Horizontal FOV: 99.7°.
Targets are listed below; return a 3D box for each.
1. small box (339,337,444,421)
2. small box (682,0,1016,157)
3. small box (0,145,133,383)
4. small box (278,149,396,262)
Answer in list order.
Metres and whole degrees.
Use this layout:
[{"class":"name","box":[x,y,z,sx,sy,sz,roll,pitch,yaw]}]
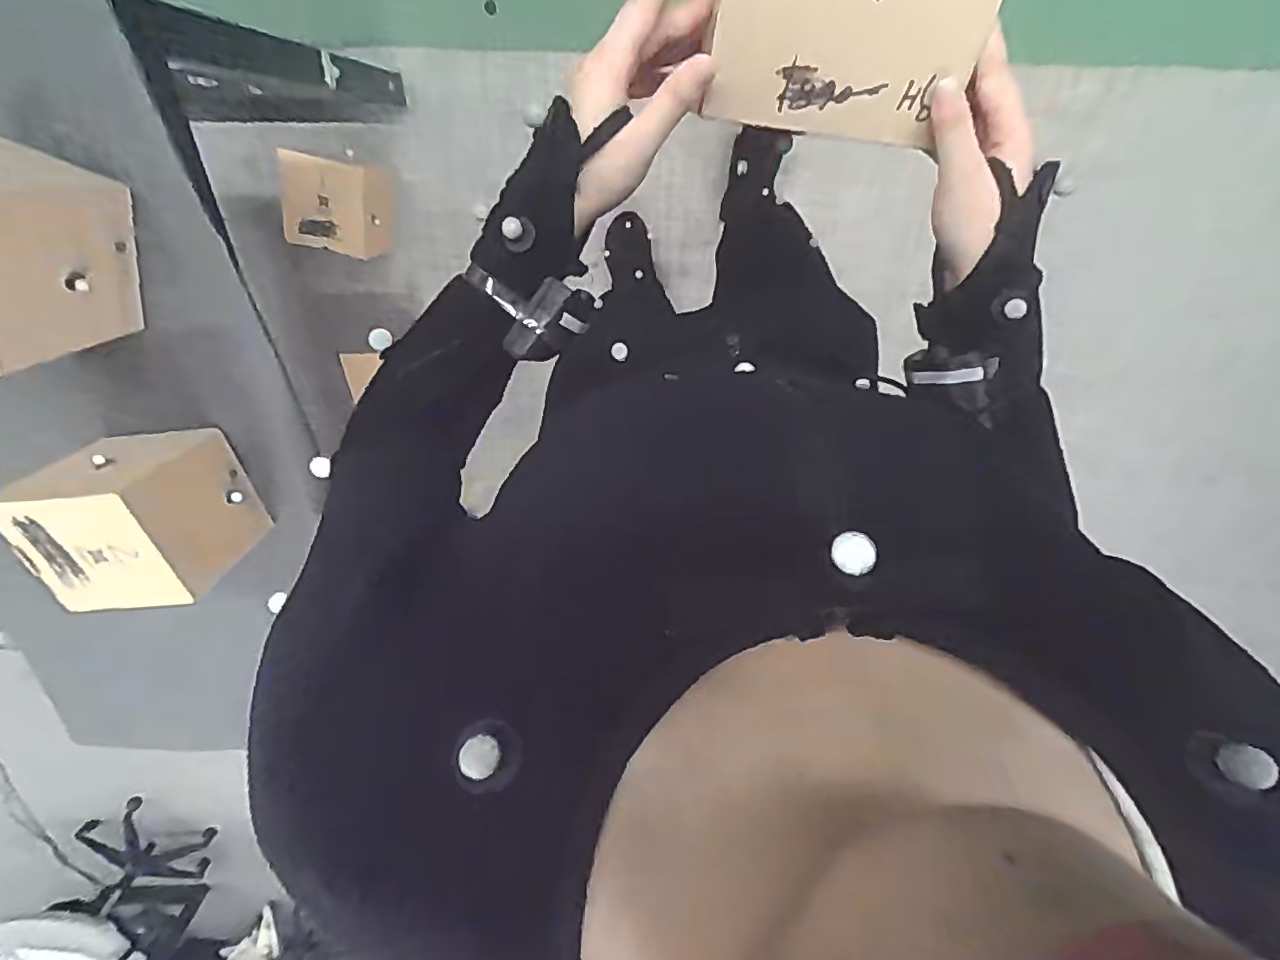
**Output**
[{"class":"small box","box":[-0.611,-0.259,1.362,0.179,0.176,0.168,-1,121,2]},{"class":"small box","box":[0.129,-0.334,0.360,0.168,0.176,0.179,3,126,-8]},{"class":"small box","box":[-0.648,-0.224,0.527,0.179,0.176,0.168,20,119,-9]},{"class":"small box","box":[-0.640,-0.589,1.161,0.168,0.176,0.179,12,119,-7]}]
